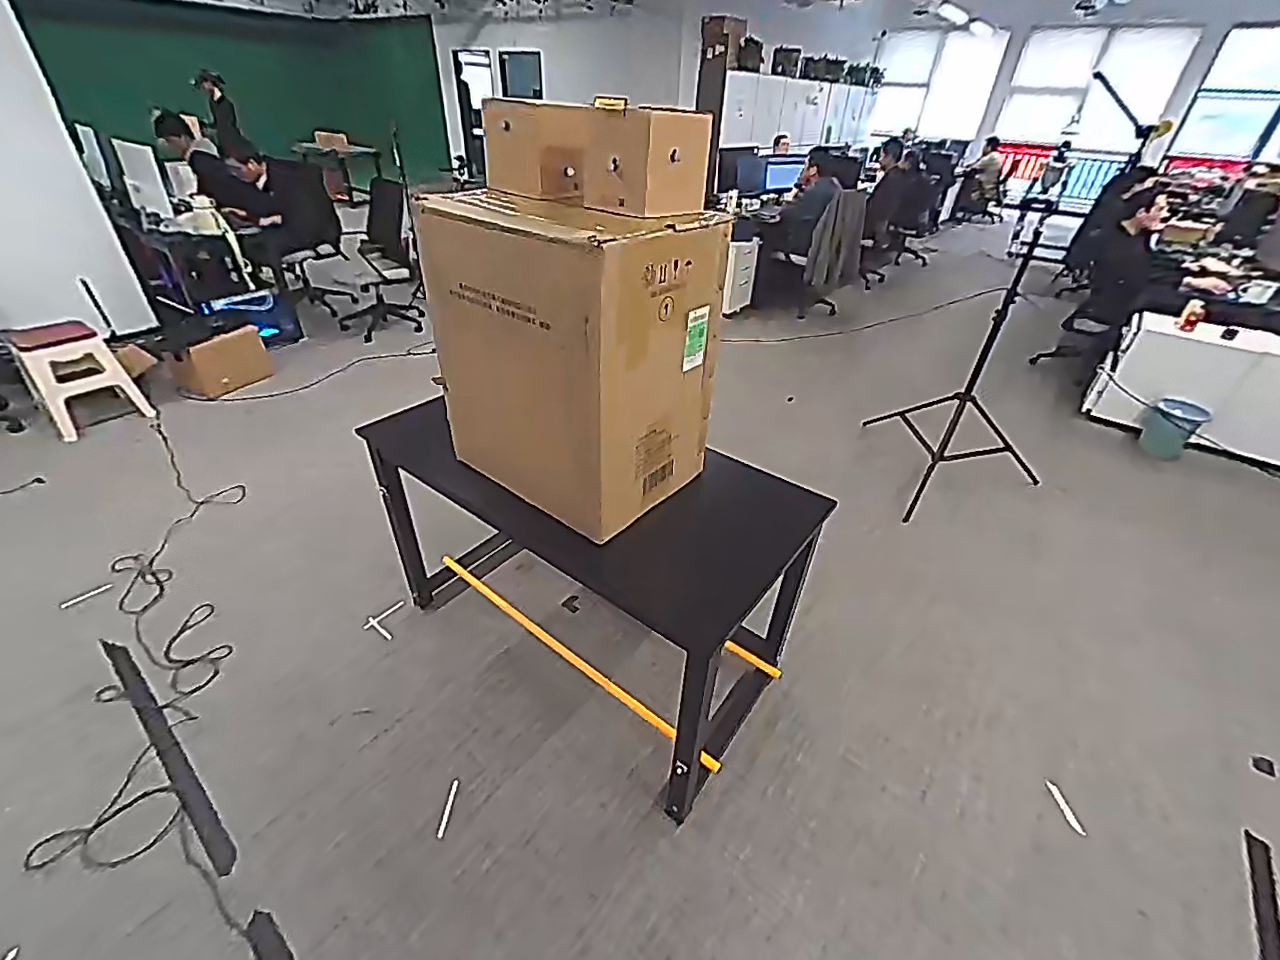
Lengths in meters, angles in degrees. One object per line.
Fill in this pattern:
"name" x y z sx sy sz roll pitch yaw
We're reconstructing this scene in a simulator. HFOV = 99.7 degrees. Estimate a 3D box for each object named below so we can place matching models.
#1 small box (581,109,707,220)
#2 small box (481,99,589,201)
"small box" 0.008 -0.599 1.026 0.168 0.176 0.179 28 41 32
"small box" -0.216 -0.703 1.157 0.179 0.176 0.168 28 41 28
